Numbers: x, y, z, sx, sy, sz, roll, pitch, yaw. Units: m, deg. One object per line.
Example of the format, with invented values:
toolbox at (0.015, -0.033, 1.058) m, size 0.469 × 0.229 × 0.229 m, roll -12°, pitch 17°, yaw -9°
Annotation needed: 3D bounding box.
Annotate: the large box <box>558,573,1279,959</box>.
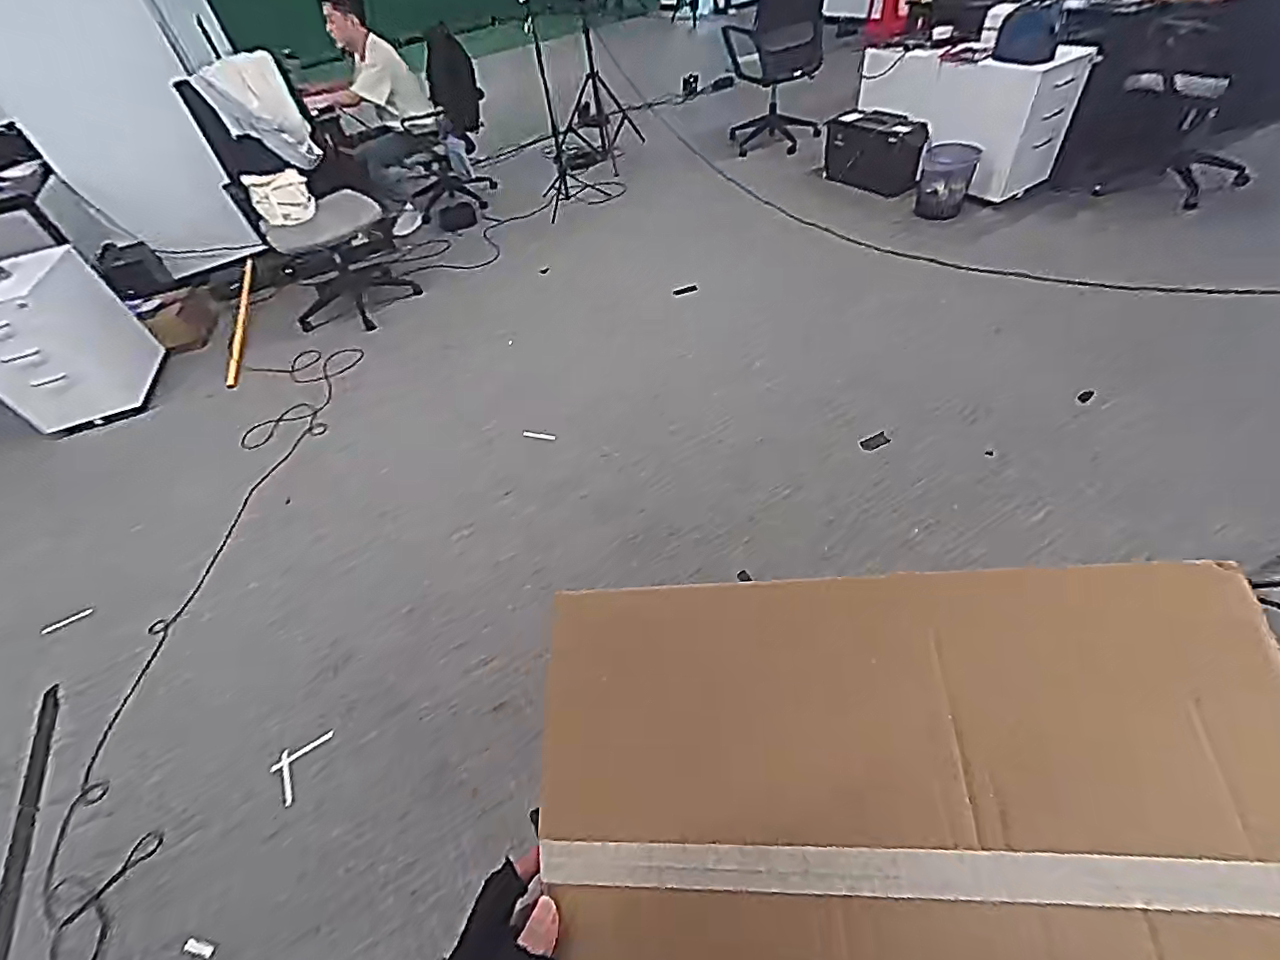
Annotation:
large box at (0.174, 0.271, 0.428) m, size 0.408 × 0.320 × 0.320 m, roll -5°, pitch 67°, yaw 11°
